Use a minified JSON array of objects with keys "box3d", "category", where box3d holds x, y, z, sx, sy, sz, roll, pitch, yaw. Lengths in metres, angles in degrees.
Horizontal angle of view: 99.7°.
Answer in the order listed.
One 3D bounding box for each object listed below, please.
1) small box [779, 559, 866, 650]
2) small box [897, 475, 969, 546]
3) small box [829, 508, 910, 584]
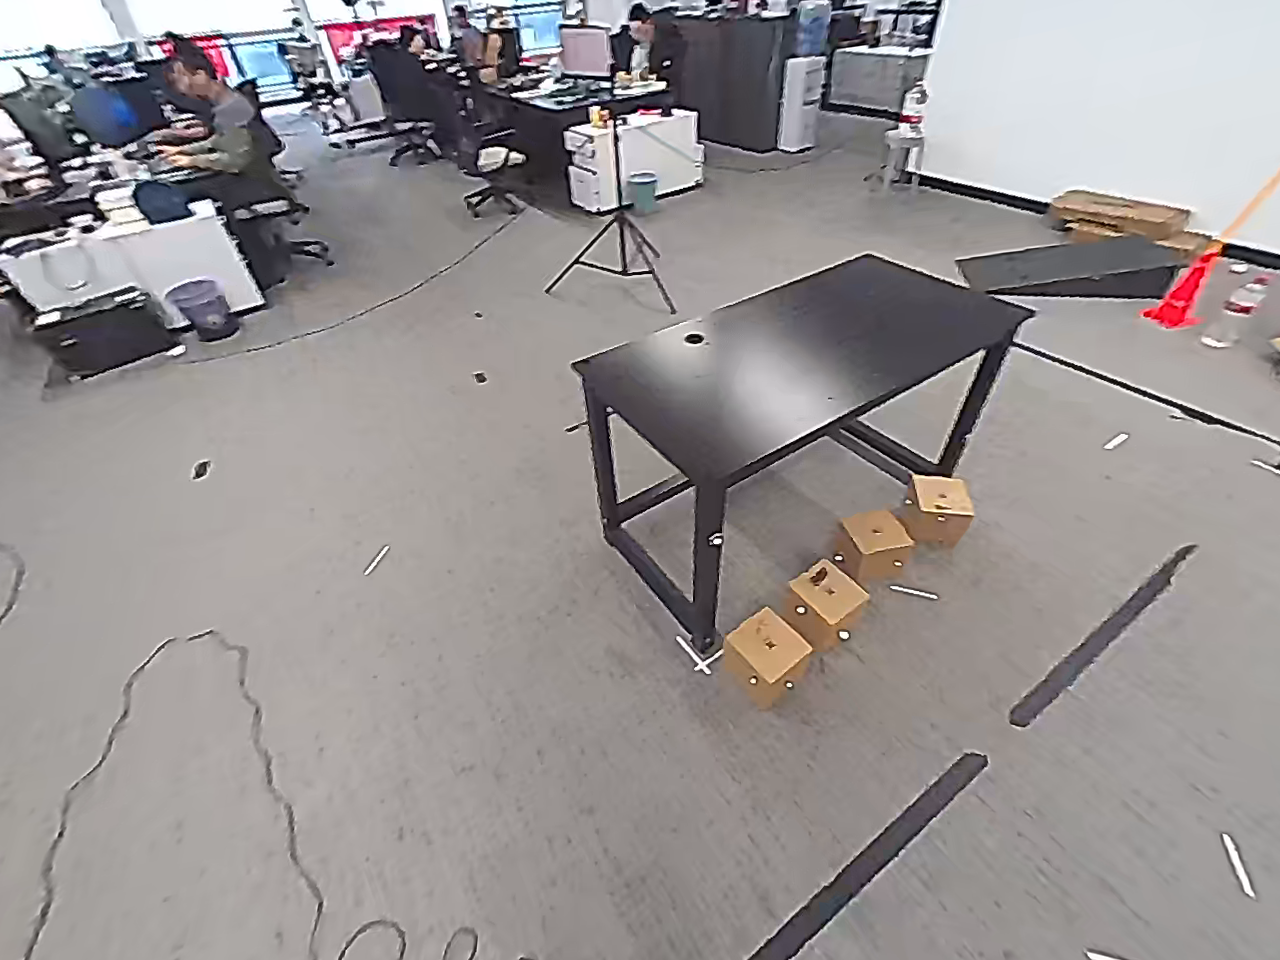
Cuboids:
[{"box3d":[0.547,0.380,1.646,0.168,0.176,0.179,-28,49,-22],"category":"small box"},{"box3d":[1.016,0.106,1.893,0.168,0.176,0.179,4,44,9],"category":"small box"},{"box3d":[0.754,0.222,1.797,0.179,0.176,0.168,-12,43,-6],"category":"small box"}]
